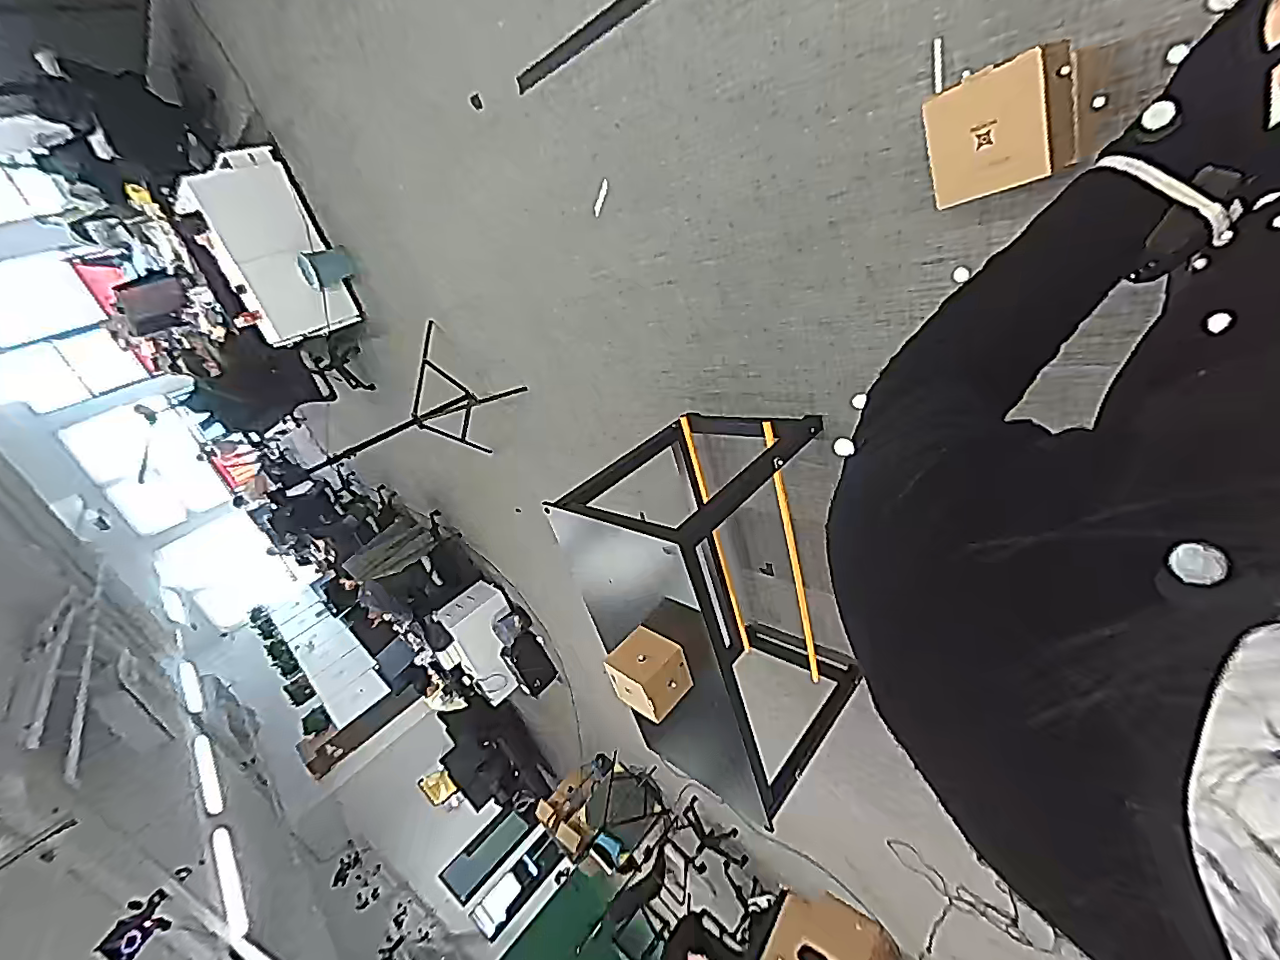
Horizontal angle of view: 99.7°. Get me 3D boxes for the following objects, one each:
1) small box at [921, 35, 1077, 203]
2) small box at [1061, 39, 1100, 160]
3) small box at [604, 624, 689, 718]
[{"bbox_3d":[0.592,-0.590,0.888,0.168,0.176,0.179,4,125,51],"label":"small box"},{"bbox_3d":[0.704,-0.663,0.981,0.179,0.176,0.168,7,126,47],"label":"small box"},{"bbox_3d":[0.029,0.561,1.614,0.179,0.176,0.168,13,130,45],"label":"small box"}]
